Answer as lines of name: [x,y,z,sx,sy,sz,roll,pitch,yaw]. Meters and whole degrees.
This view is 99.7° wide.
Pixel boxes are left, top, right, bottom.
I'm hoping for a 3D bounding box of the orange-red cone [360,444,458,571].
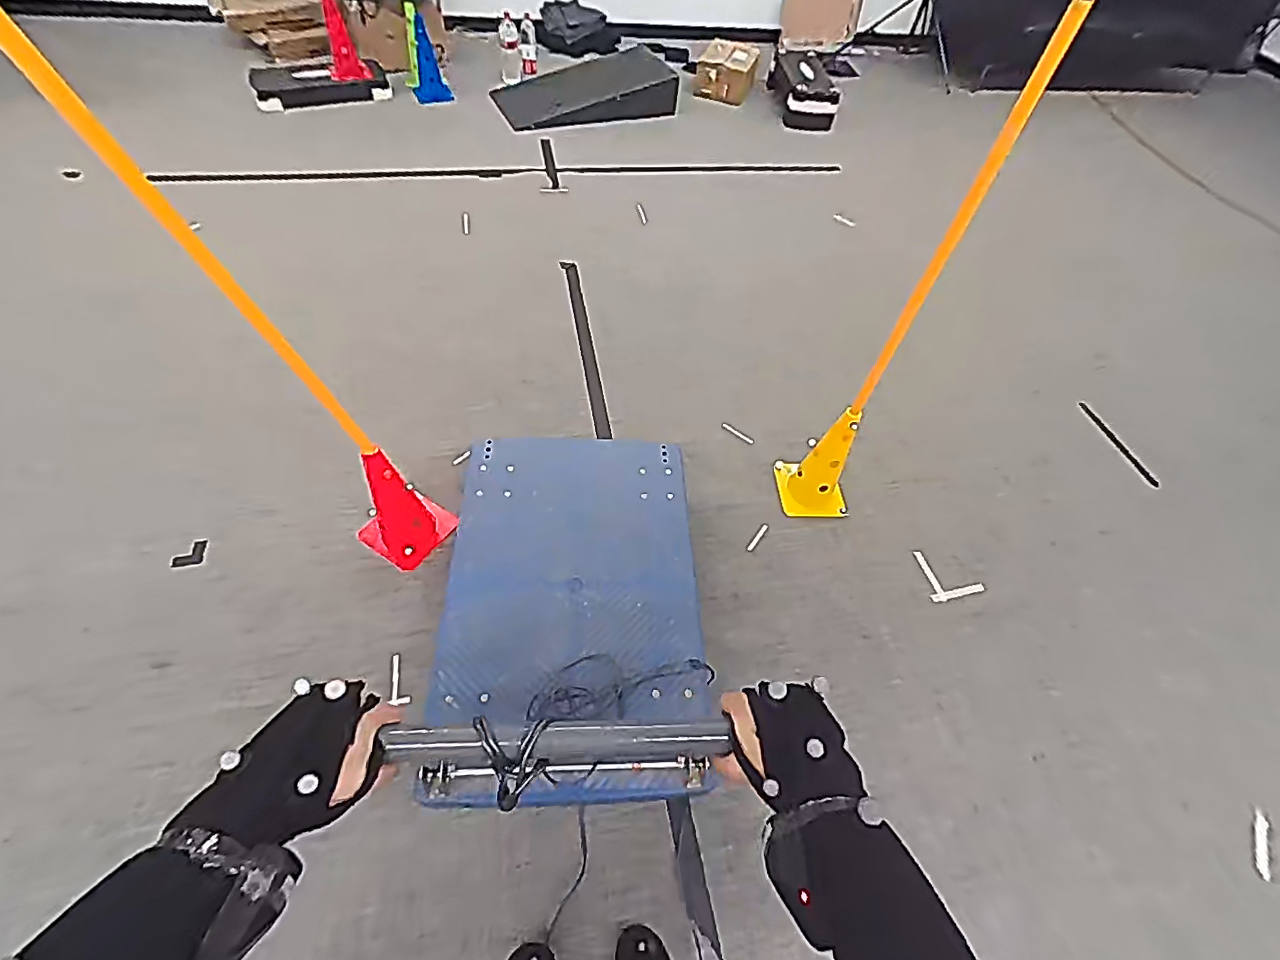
orange-red cone: [-0.612,0.036,1.346,0.198,0.360,0.199,32,56,14]
